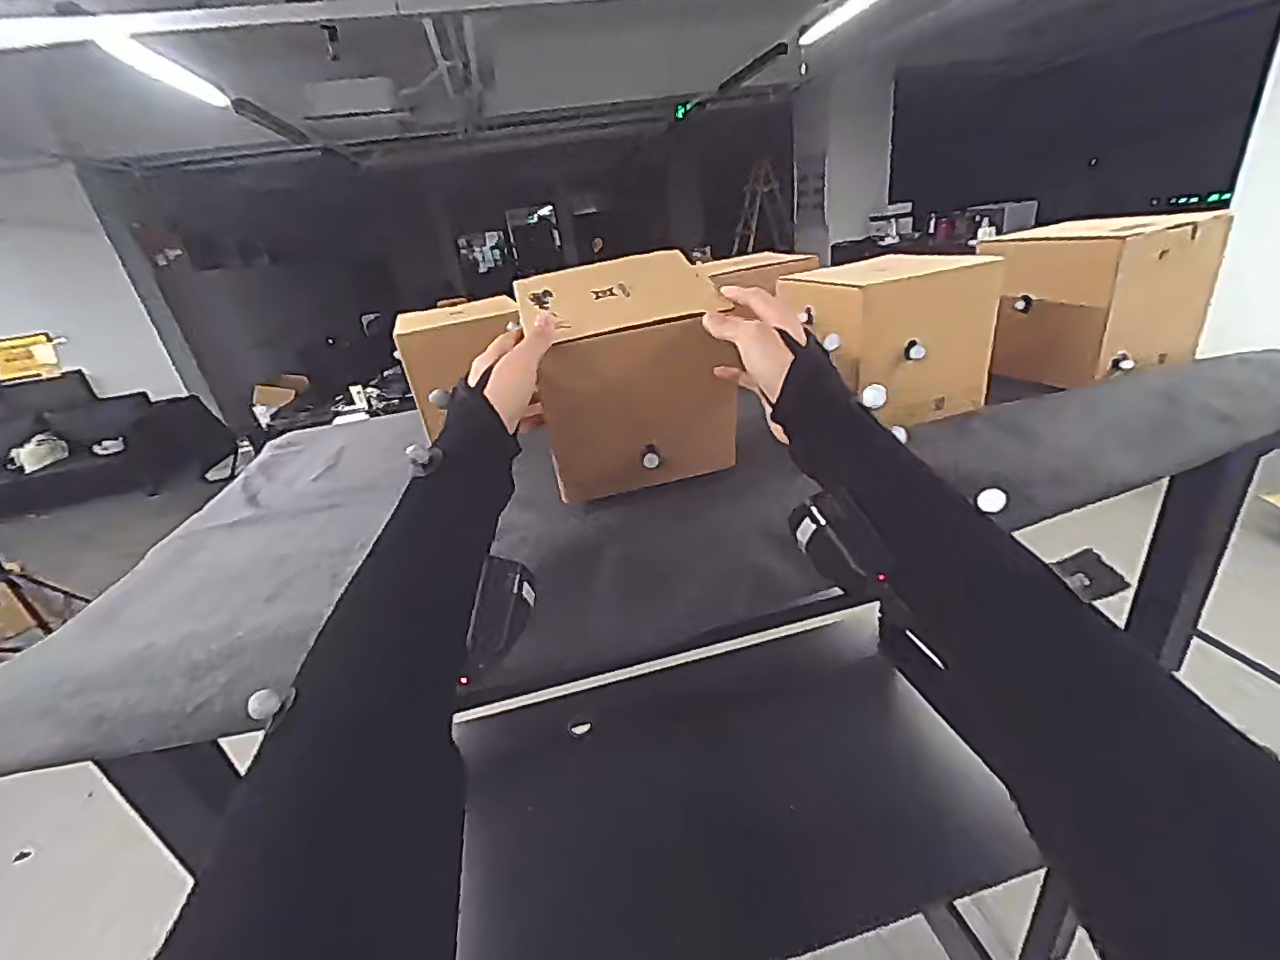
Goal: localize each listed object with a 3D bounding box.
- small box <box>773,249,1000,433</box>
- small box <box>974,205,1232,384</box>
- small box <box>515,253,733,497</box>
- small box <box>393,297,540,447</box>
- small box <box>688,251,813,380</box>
[{"bbox_3d":[0.273,-0.164,0.631,0.168,0.176,0.179,-14,25,-10],"label":"small box"},{"bbox_3d":[0.539,-0.224,0.662,0.168,0.176,0.179,-16,25,-13],"label":"small box"},{"bbox_3d":[-0.019,-0.107,0.543,0.179,0.176,0.168,-12,40,-7],"label":"small box"},{"bbox_3d":[-0.246,-0.164,0.796,0.168,0.176,0.179,-17,27,-14],"label":"small box"},{"bbox_3d":[0.167,-0.268,0.878,0.179,0.176,0.168,-13,27,-8],"label":"small box"}]
